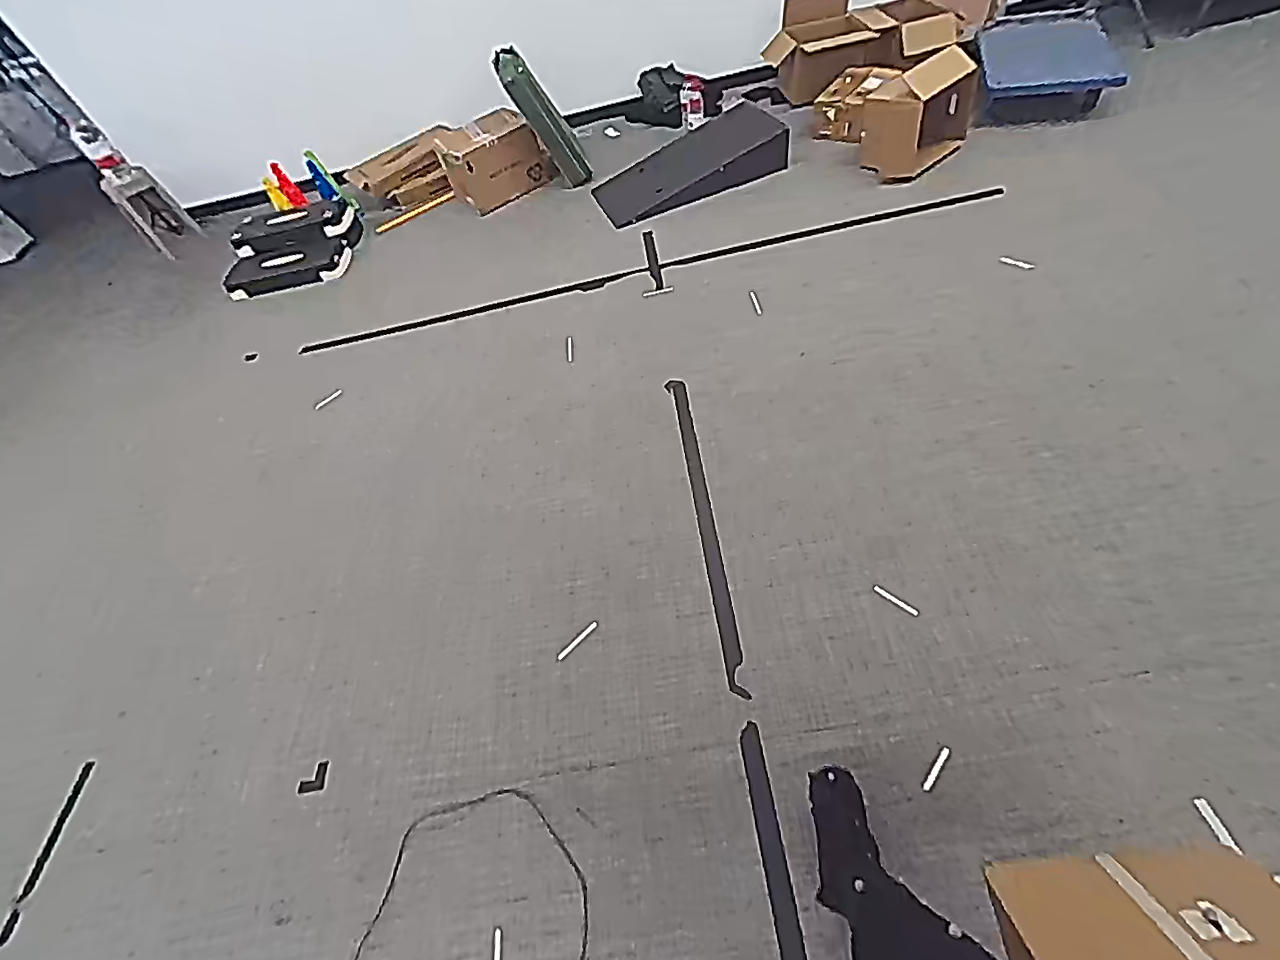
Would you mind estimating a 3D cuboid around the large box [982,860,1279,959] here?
[{"bbox_3d":[0.636,0.682,0.555,0.320,0.408,0.320,-12,82,12],"label":"large box"}]
